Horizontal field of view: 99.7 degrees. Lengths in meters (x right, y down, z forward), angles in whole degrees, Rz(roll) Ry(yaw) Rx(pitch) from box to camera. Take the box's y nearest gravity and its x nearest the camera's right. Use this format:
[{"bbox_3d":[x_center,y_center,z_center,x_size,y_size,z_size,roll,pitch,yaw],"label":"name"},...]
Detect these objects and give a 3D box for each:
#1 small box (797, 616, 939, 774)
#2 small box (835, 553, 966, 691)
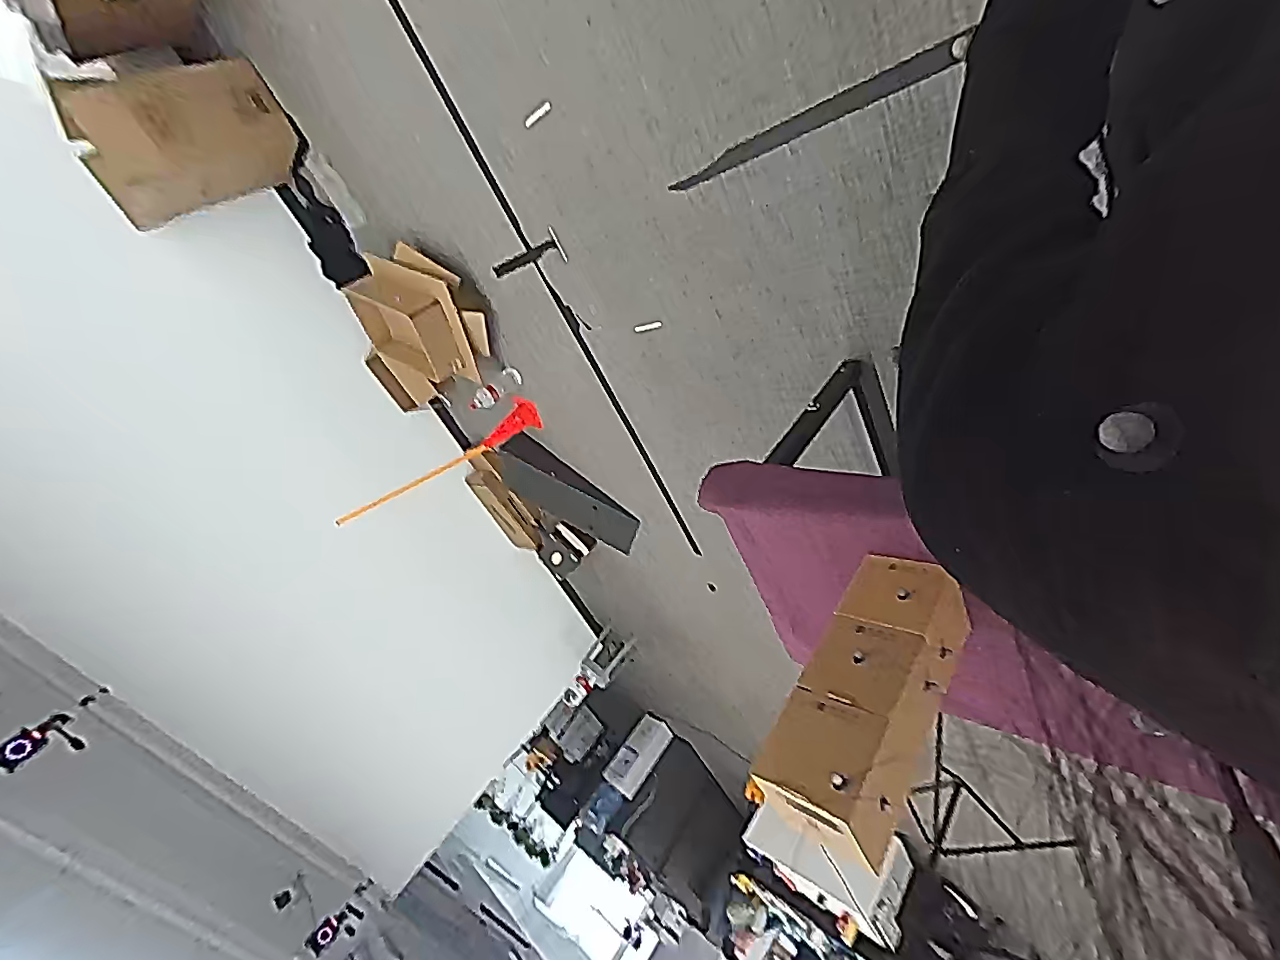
[{"bbox_3d":[0.410,0.370,0.963,0.168,0.176,0.179,5,132,47],"label":"small box"},{"bbox_3d":[0.506,0.264,1.043,0.168,0.176,0.179,4,132,48],"label":"small box"}]
